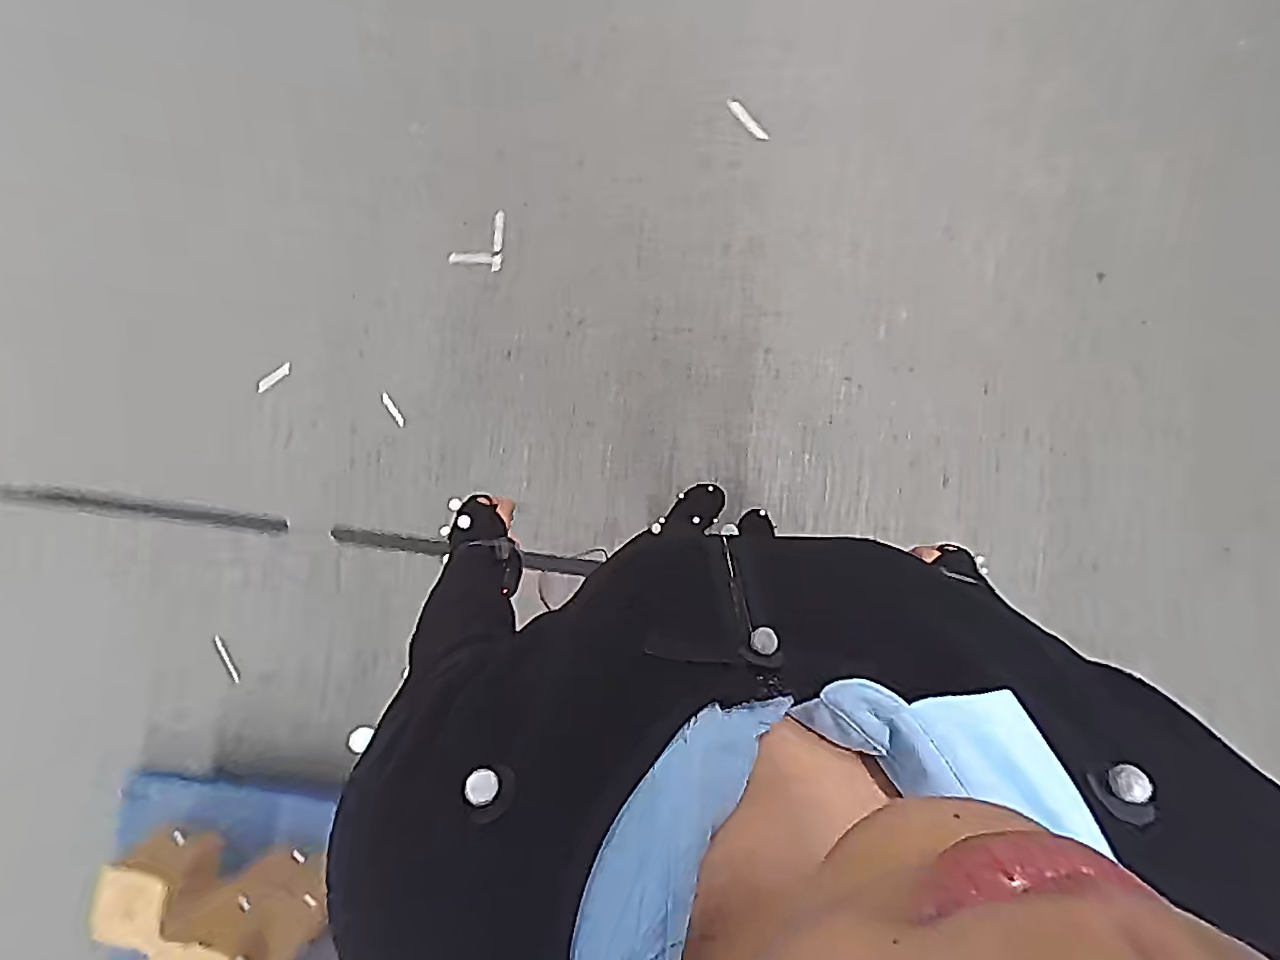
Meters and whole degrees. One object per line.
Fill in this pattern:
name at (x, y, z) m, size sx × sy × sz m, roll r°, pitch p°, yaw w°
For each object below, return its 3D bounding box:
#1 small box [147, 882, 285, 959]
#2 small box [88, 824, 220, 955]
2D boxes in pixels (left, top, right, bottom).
small box at (-0.886, 1.001, 1.133) m, size 0.168 × 0.176 × 0.179 m, roll 6°, pitch 87°, yaw 5°
small box at (-1.178, 0.990, 1.322) m, size 0.168 × 0.176 × 0.179 m, roll 9°, pitch 89°, yaw 5°
